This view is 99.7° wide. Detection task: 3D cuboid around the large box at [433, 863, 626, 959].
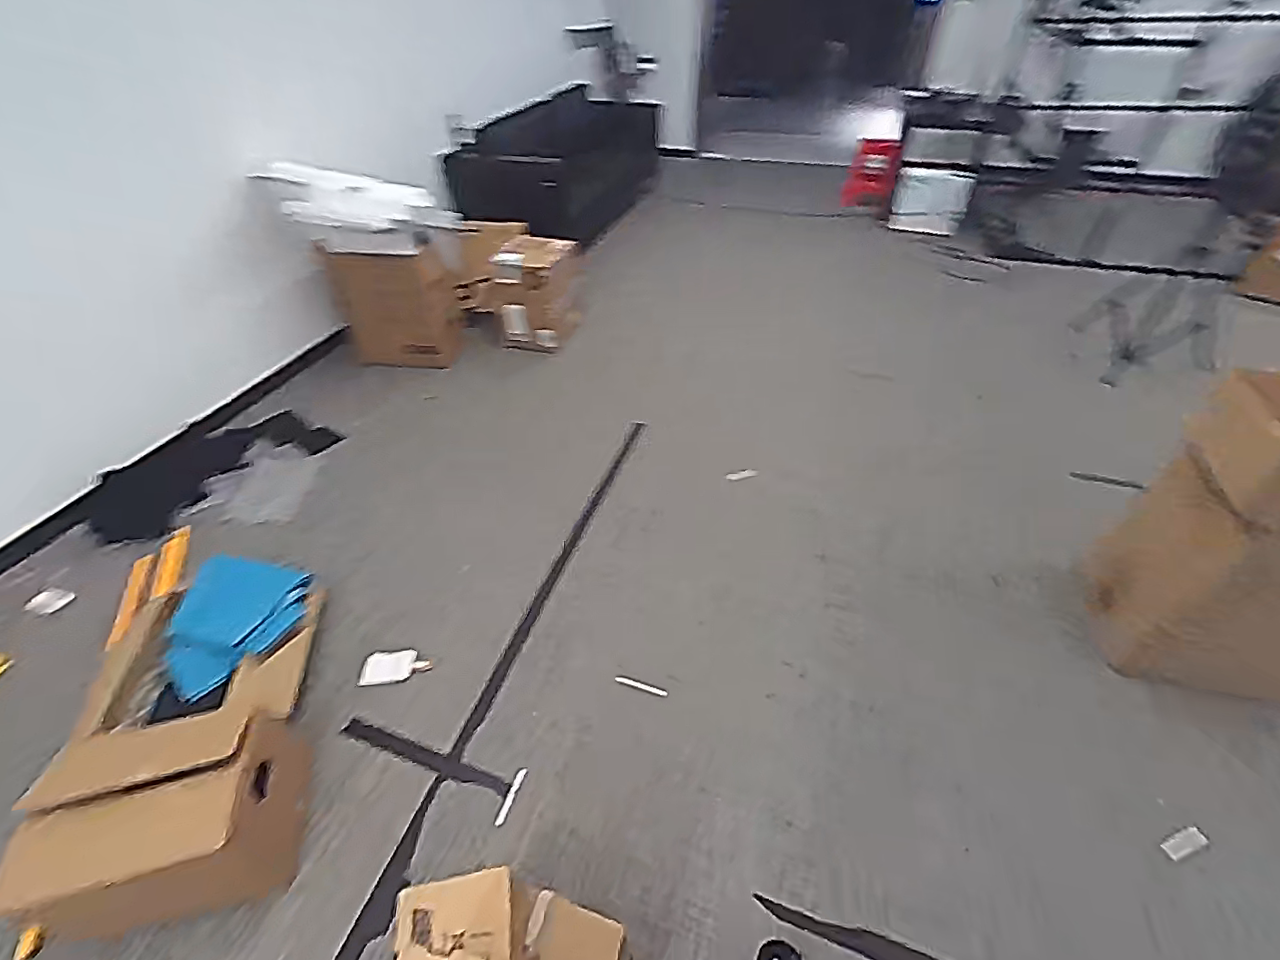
[{"bbox_3d":[-0.231,0.997,0.958,0.320,0.320,0.408,12,44,13],"label":"large box"}]
